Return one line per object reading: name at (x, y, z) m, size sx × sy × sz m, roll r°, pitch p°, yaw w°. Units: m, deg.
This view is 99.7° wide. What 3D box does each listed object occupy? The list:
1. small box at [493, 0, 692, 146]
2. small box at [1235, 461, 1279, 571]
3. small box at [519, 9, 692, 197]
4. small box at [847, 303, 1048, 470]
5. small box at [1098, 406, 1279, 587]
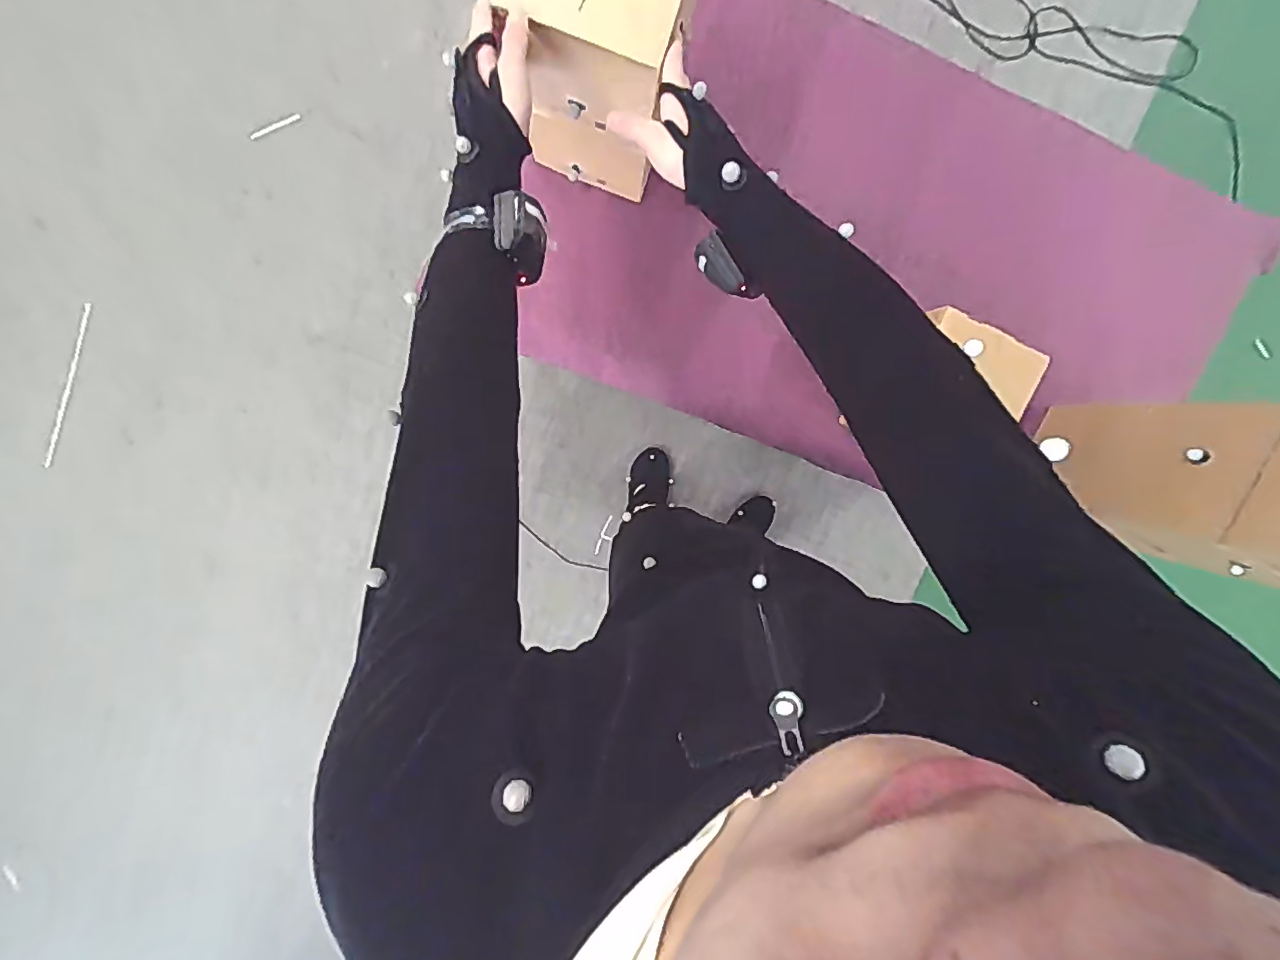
small box at (-0.037, -0.494, 0.558) m, size 0.168 × 0.176 × 0.179 m, roll 18°, pitch 98°, yaw -5°
small box at (0.746, 0.032, 0.508) m, size 0.168 × 0.176 × 0.179 m, roll 24°, pitch 96°, yaw -5°
small box at (-0.047, -0.517, 0.720) m, size 0.168 × 0.176 × 0.179 m, roll 19°, pitch 98°, yaw -5°
small box at (0.436, -0.132, 0.803) m, size 0.168 × 0.176 × 0.179 m, roll 23°, pitch 94°, yaw -6°
small box at (0.737, 0.015, 0.672) m, size 0.168 × 0.176 × 0.179 m, roll 25°, pitch 95°, yaw -5°
